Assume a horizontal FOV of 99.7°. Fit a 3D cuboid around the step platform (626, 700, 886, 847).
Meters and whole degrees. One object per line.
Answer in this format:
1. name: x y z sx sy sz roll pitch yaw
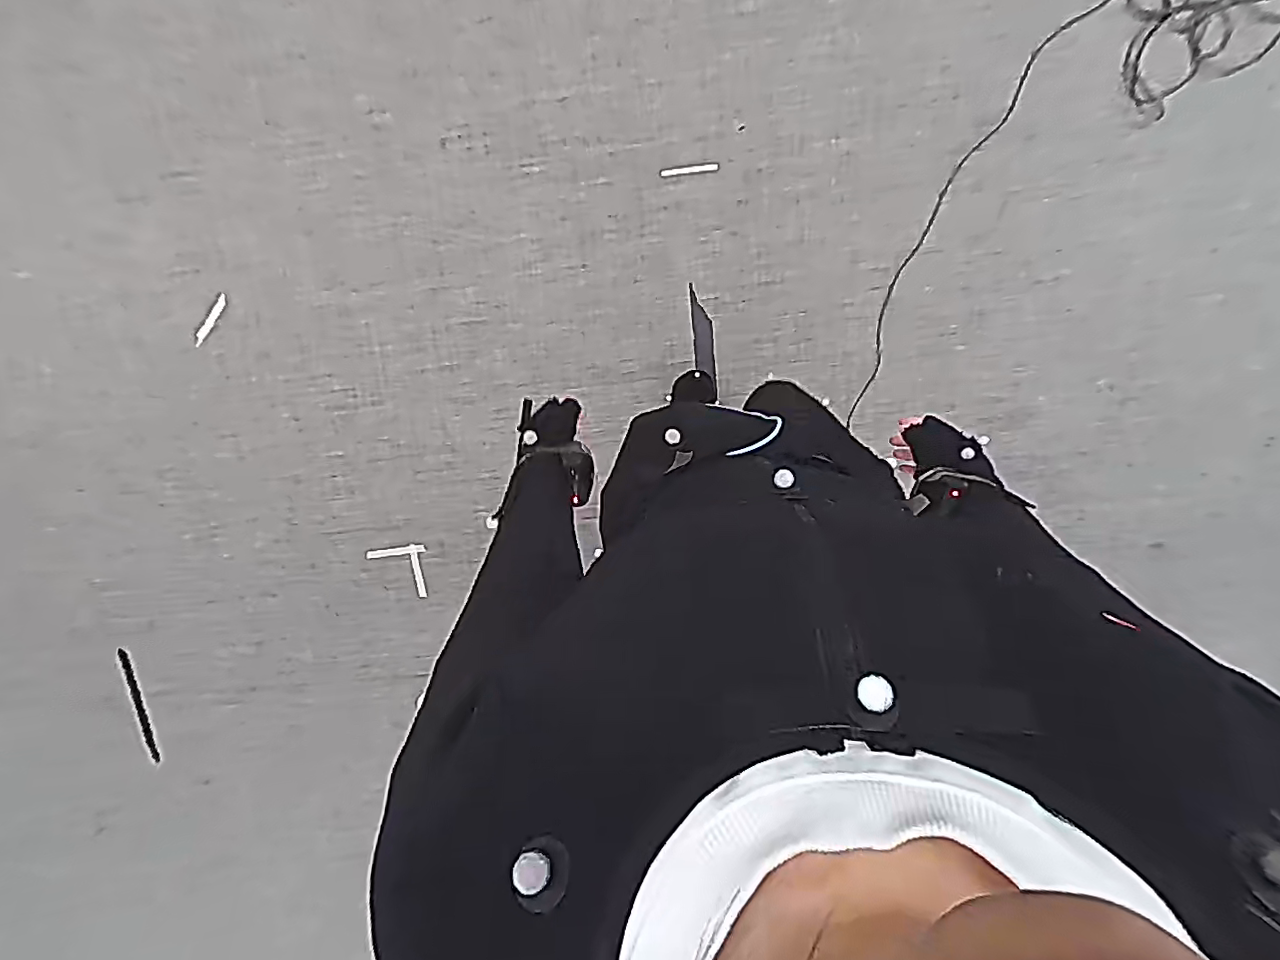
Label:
1. step platform: 0.305 0.810 1.489 0.684 0.204 0.286 -7 99 6
